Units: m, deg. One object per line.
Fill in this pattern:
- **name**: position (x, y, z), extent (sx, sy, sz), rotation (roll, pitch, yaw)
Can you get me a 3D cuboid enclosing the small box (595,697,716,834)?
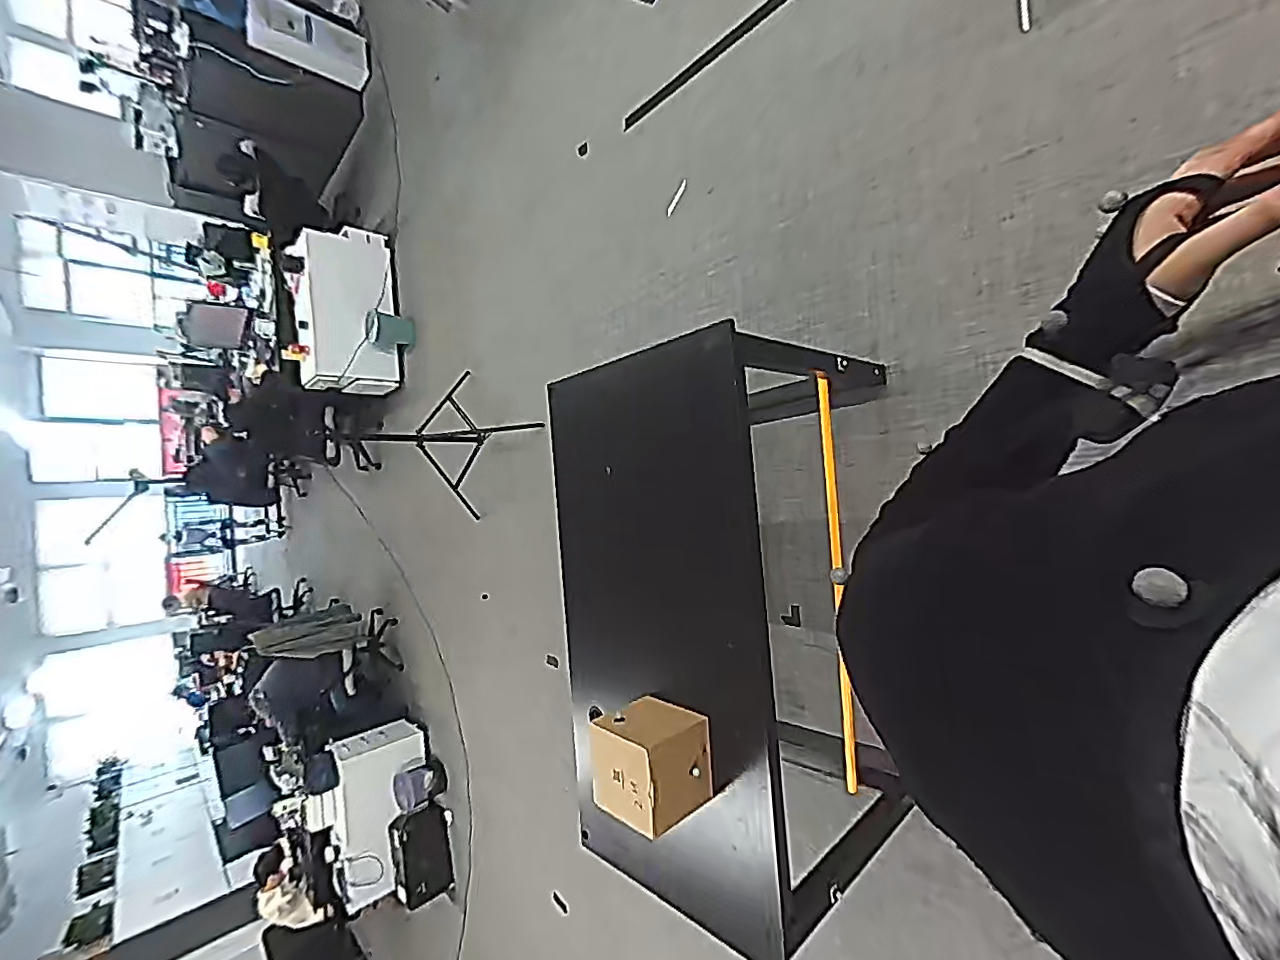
- **small box**: position (0.031, 0.553, 1.080), extent (0.179, 0.176, 0.168), rotation (-3, 90, 48)
